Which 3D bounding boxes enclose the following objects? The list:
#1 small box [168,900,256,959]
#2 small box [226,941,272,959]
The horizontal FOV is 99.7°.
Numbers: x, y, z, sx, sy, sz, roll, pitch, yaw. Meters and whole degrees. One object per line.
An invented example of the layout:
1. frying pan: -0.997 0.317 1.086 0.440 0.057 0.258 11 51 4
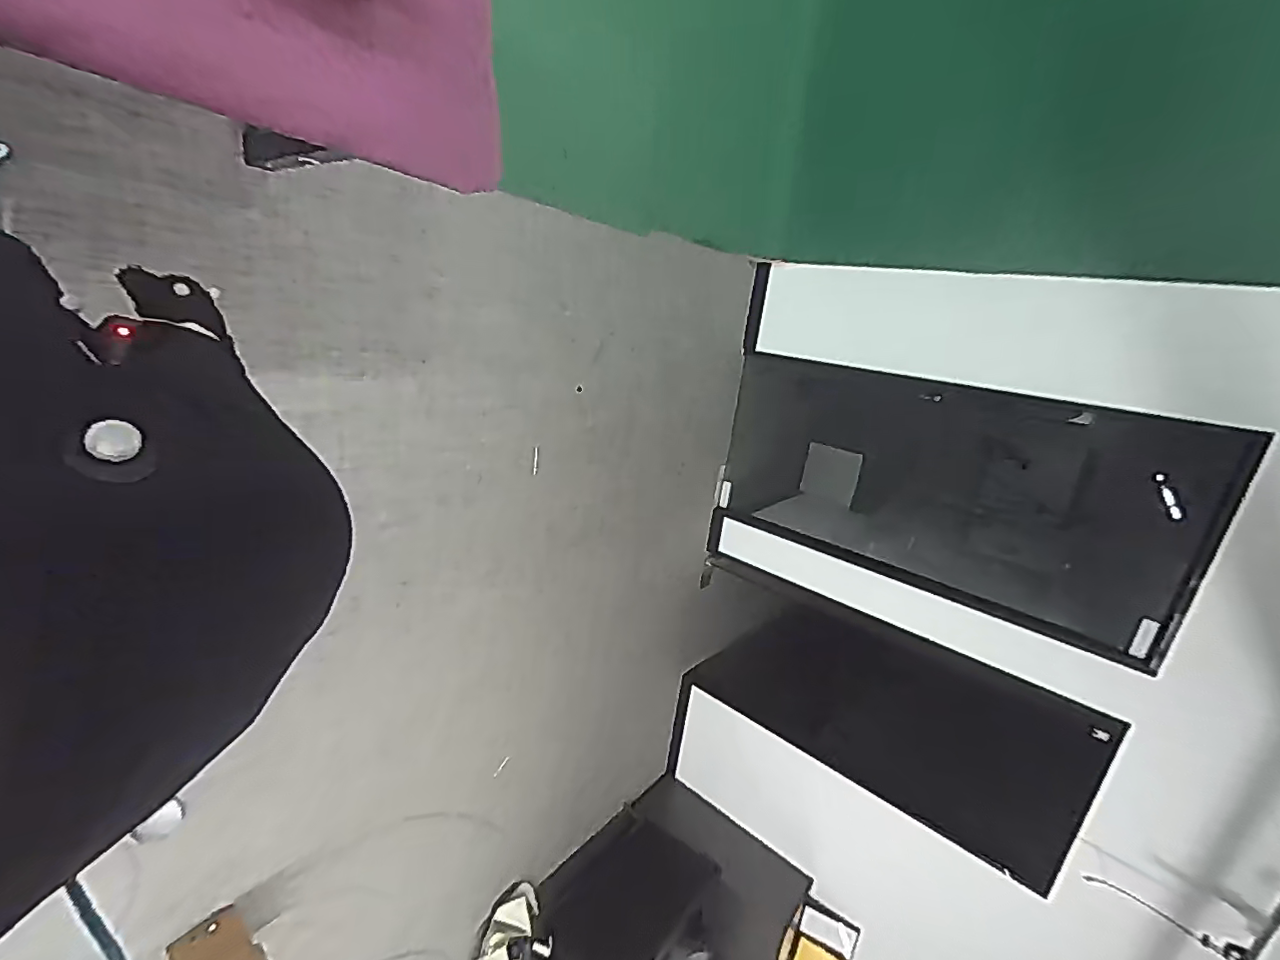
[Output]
1. small box: -1.224 1.377 1.556 0.168 0.176 0.179 -17 119 -49
2. small box: -1.090 1.418 1.470 0.168 0.176 0.179 -17 120 -49
